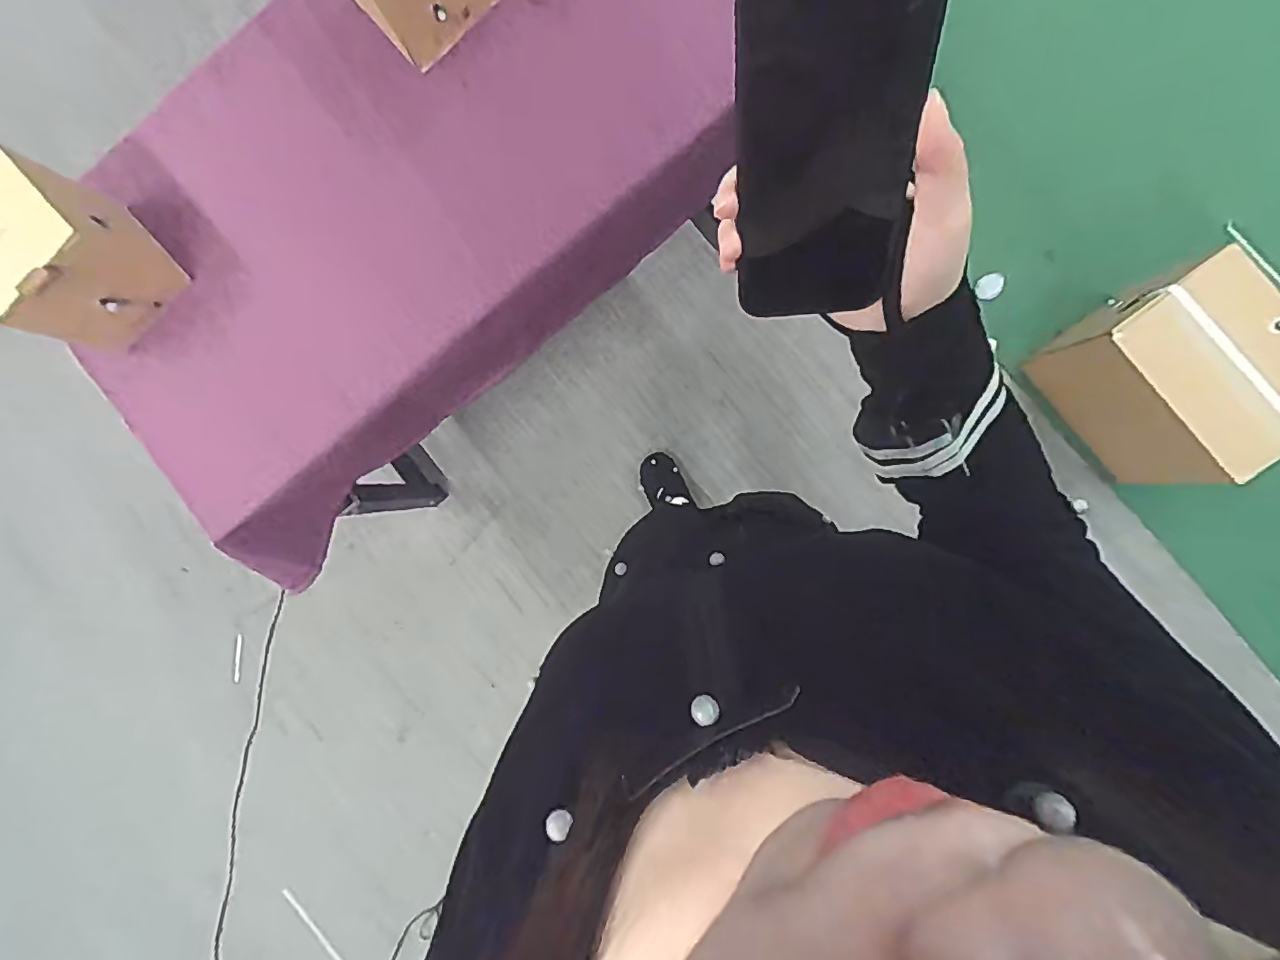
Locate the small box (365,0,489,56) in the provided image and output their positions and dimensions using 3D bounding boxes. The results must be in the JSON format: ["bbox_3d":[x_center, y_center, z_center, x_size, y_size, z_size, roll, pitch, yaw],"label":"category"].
[{"bbox_3d":[-0.331,-0.741,0.729,0.168,0.176,0.179,-41,87,4],"label":"small box"}]

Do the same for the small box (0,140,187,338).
[{"bbox_3d":[-0.818,-0.325,0.772,0.168,0.176,0.179,-44,88,3],"label":"small box"}]
